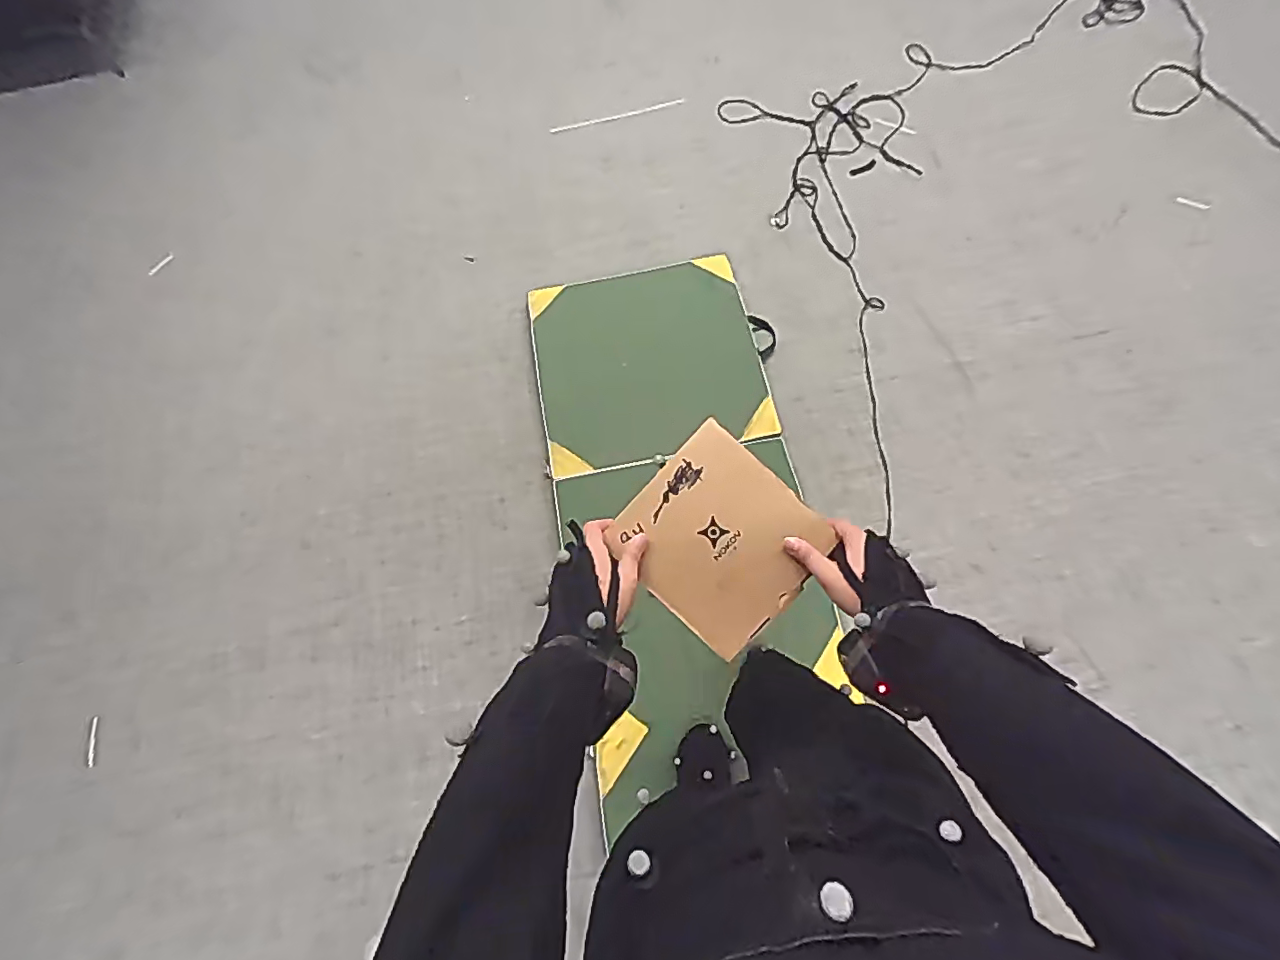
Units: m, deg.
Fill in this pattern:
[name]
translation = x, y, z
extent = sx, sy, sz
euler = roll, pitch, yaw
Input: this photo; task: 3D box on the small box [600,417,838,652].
[small box]
translation = 0.078, 0.055, 0.606
extent = 0.179, 0.176, 0.168
euler = 43, 88, 3
